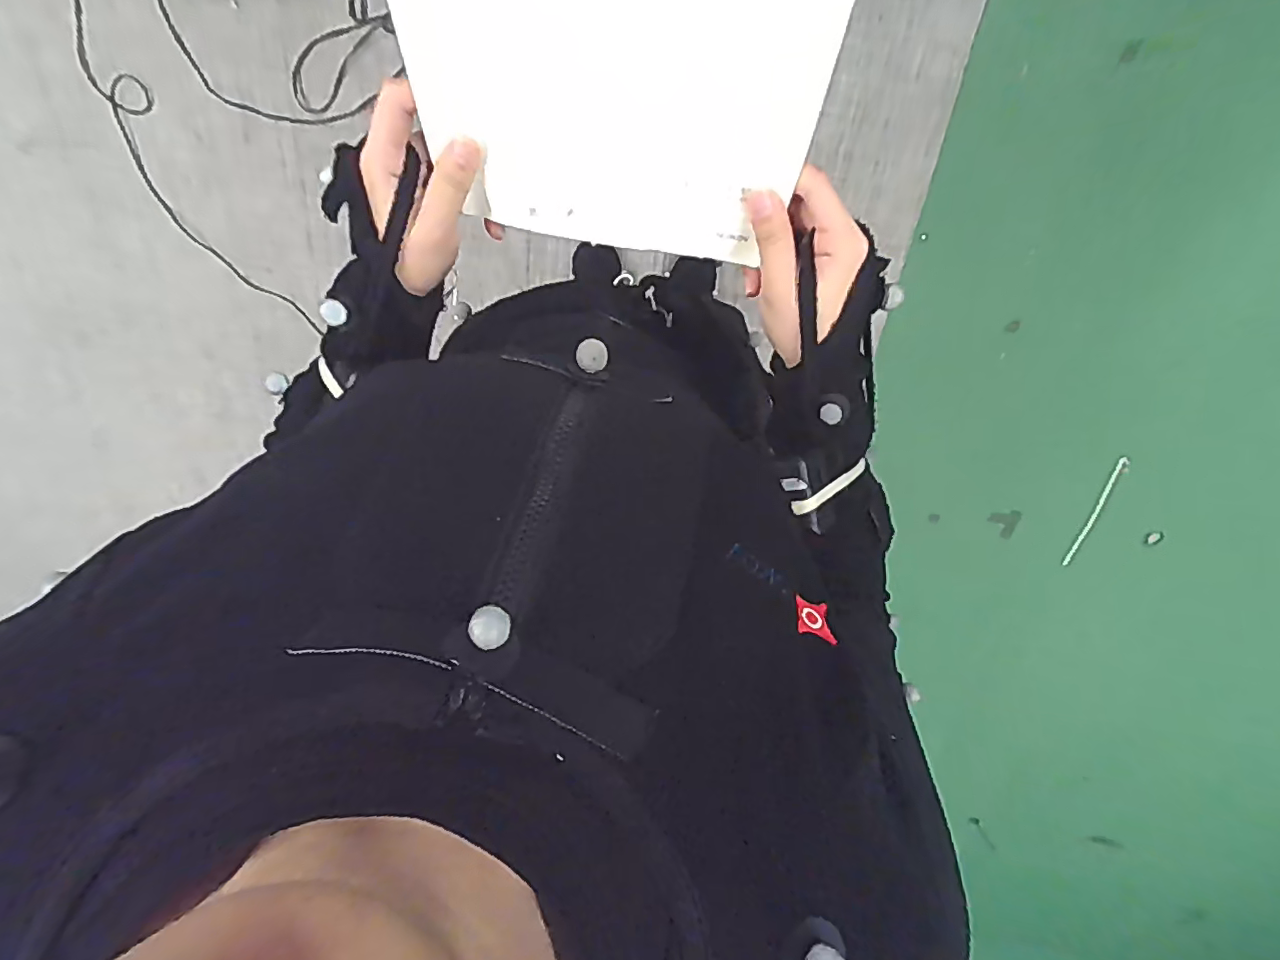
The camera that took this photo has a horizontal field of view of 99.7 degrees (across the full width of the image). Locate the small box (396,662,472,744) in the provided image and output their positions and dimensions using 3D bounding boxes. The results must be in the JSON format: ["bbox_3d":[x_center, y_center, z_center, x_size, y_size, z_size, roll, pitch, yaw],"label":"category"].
[{"bbox_3d":[-0.641,0.699,1.707,0.179,0.176,0.168,6,115,2],"label":"small box"}]
